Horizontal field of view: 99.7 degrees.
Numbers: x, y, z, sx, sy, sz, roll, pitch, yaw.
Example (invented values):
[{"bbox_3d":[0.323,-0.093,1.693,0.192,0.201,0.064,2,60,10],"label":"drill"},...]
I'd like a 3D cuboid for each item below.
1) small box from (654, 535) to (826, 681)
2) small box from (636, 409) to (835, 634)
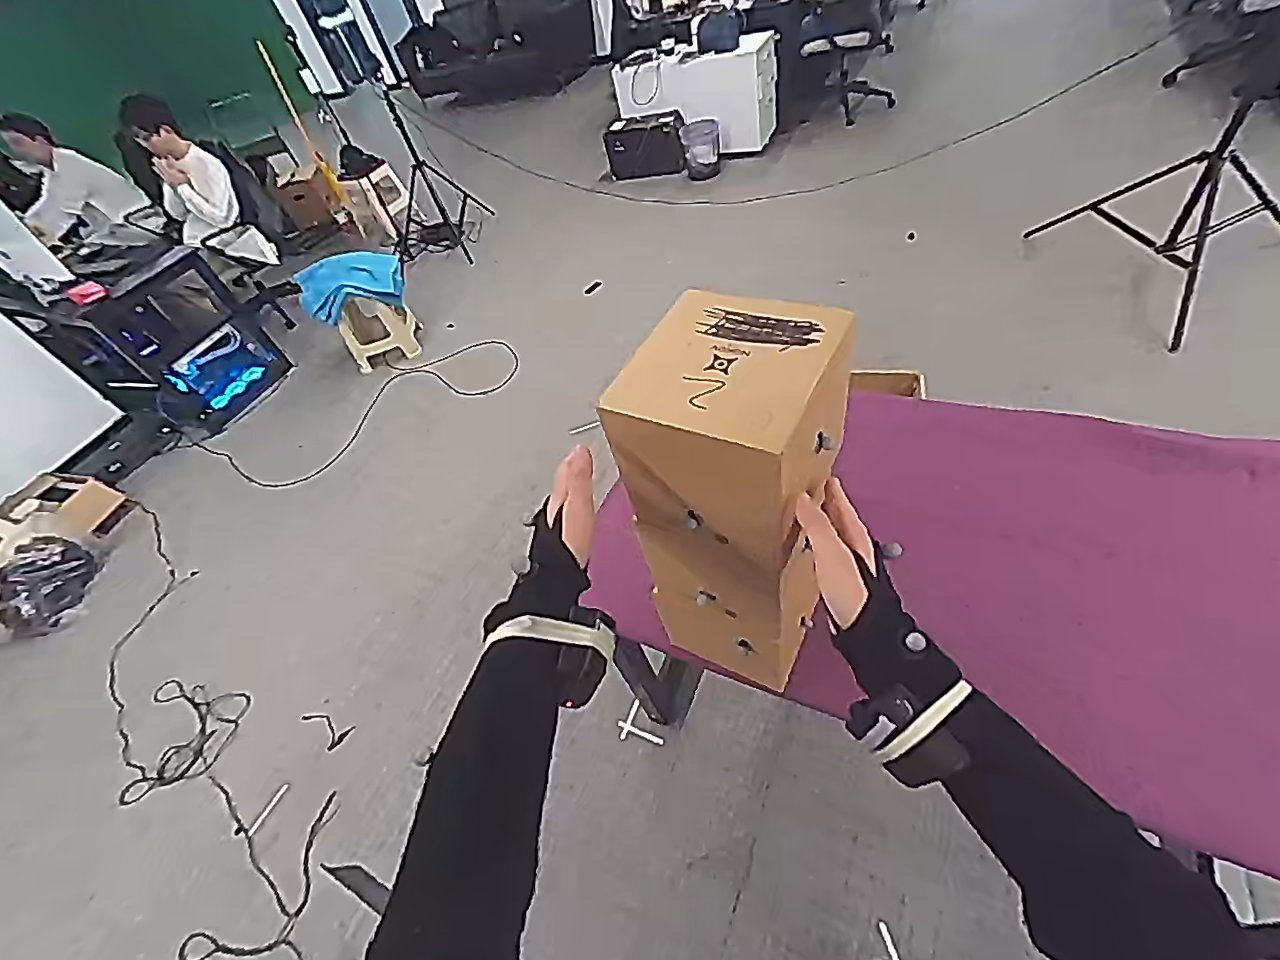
[{"bbox_3d":[0.146,0.158,0.759,0.179,0.176,0.168,17,57,28],"label":"small box"},{"bbox_3d":[0.118,0.048,0.639,0.168,0.176,0.179,16,57,27],"label":"small box"}]
